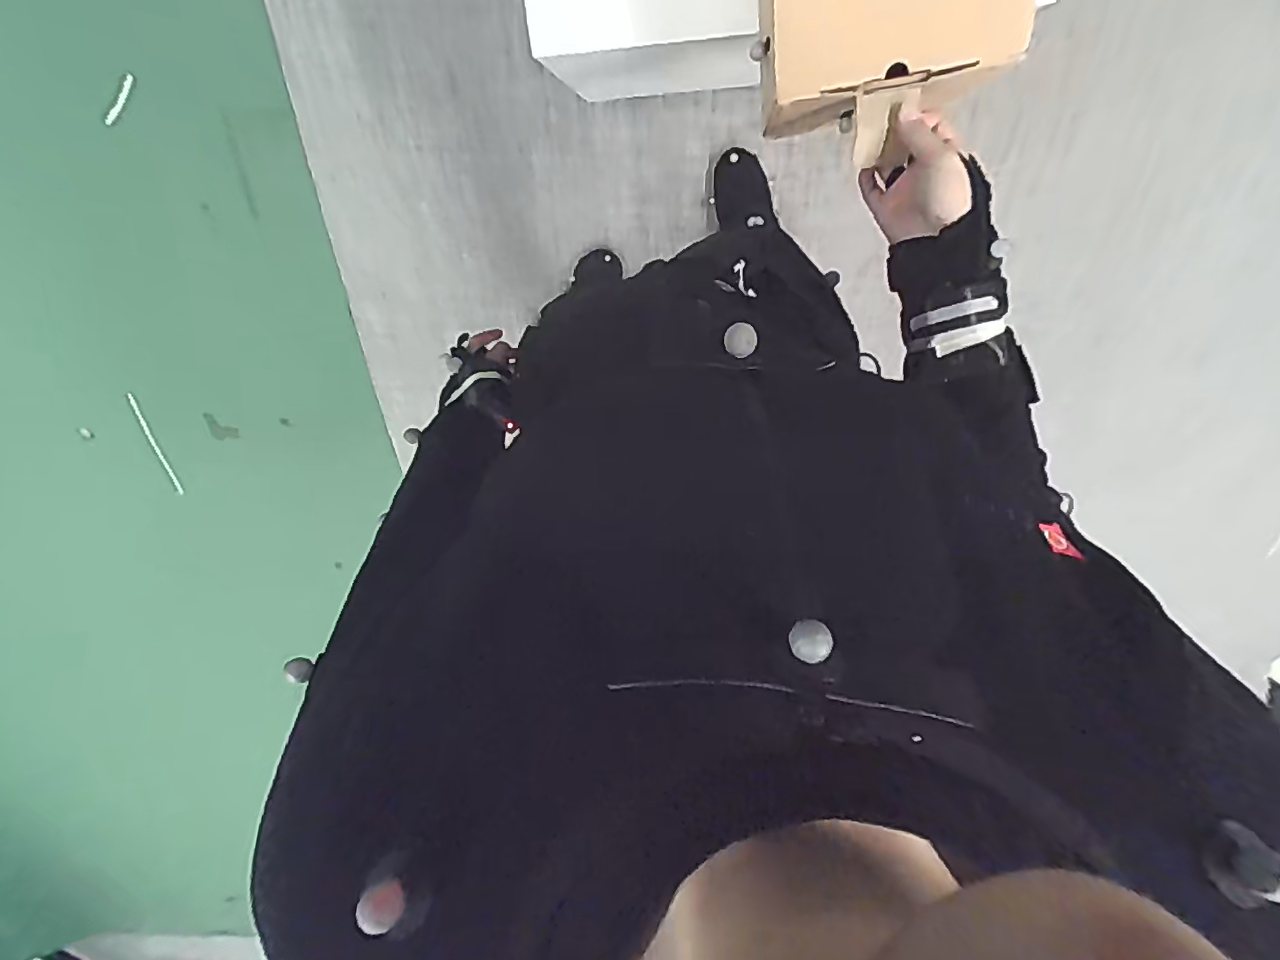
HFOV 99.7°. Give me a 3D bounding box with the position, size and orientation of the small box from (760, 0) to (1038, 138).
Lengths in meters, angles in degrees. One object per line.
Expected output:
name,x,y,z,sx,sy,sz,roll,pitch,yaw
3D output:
small box,0.180,-0.386,0.413,0.168,0.176,0.179,-4,114,11
